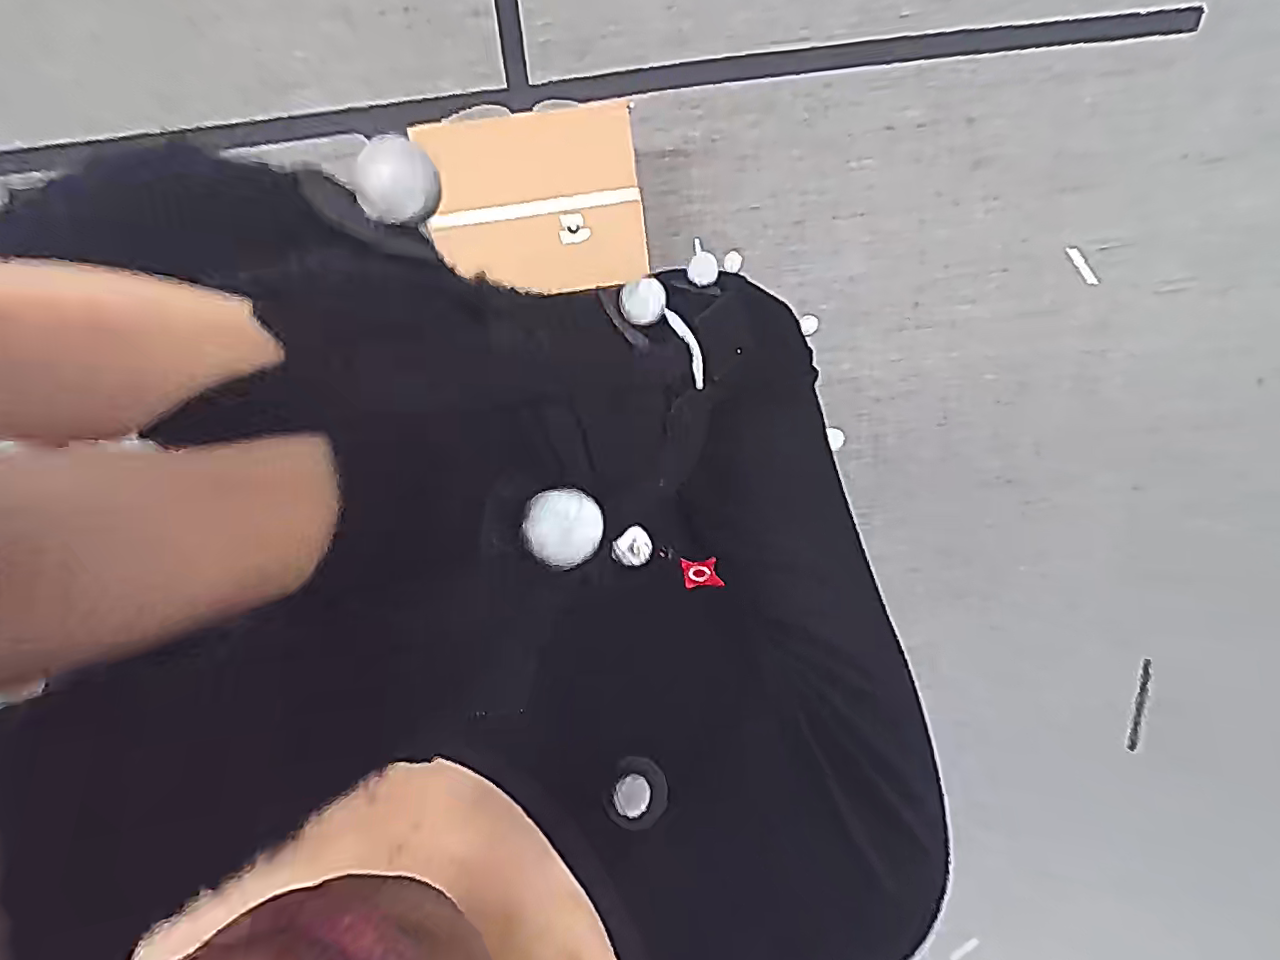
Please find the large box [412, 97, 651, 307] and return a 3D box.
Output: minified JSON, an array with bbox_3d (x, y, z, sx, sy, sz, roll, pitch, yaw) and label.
[{"bbox_3d":[-0.209,-0.564,1.163,0.408,0.320,0.320,-9,109,-3],"label":"large box"}]
